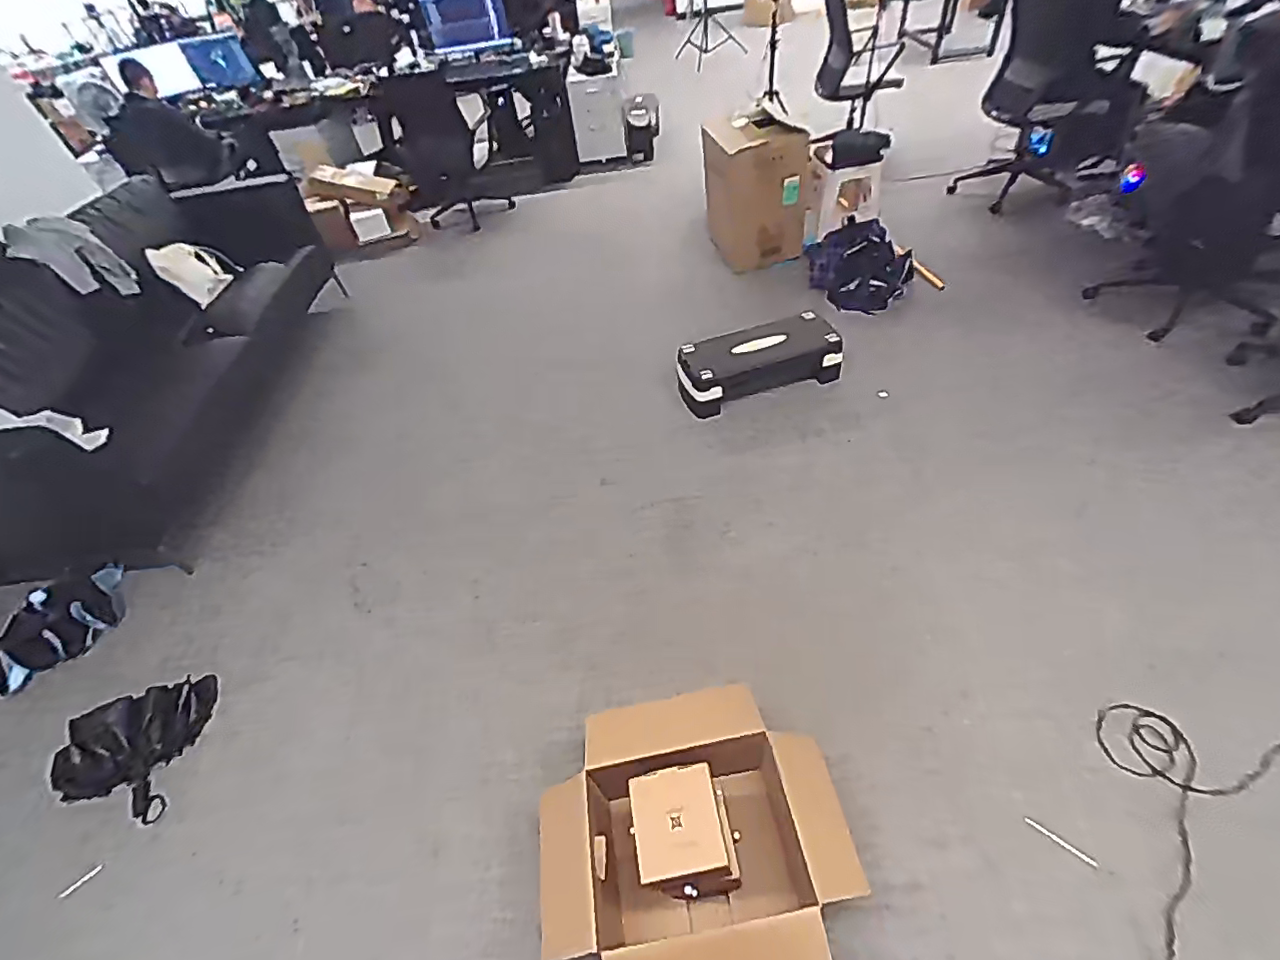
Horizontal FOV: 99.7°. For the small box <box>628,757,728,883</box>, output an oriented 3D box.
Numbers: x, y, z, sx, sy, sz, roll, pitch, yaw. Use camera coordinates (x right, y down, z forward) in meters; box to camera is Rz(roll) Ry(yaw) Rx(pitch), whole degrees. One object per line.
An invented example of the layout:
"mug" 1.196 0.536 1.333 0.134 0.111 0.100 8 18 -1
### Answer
"small box" 0.078 0.692 1.097 0.168 0.176 0.179 -13 49 2
